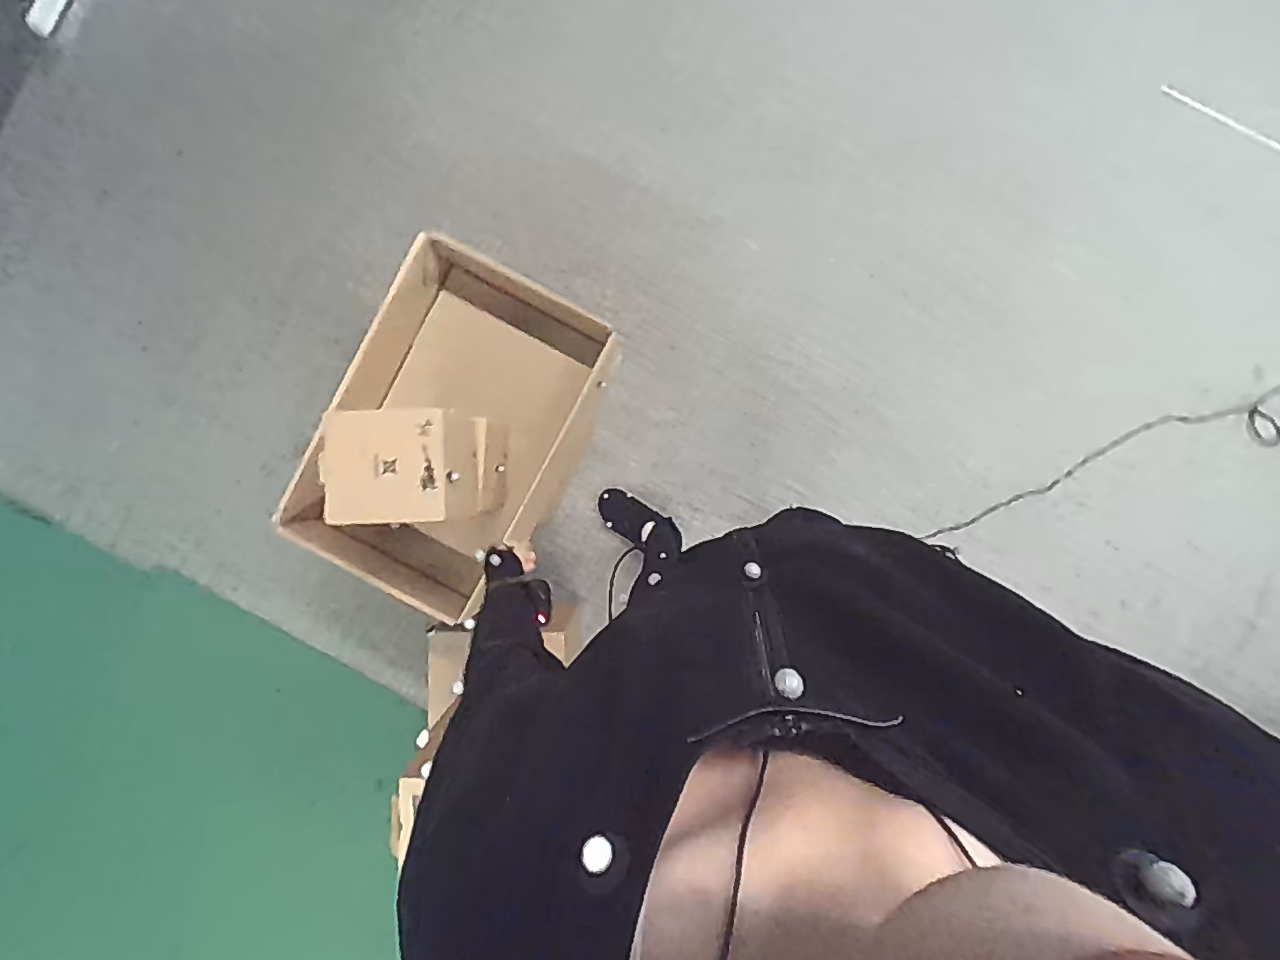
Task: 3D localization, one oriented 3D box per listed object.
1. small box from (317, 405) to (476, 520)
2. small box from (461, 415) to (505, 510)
[{"bbox_3d":[-0.371,-0.023,0.848,0.179,0.176,0.168,-1,90,1],"label":"small box"},{"bbox_3d":[-0.361,-0.037,1.012,0.179,0.176,0.168,4,89,1],"label":"small box"}]
